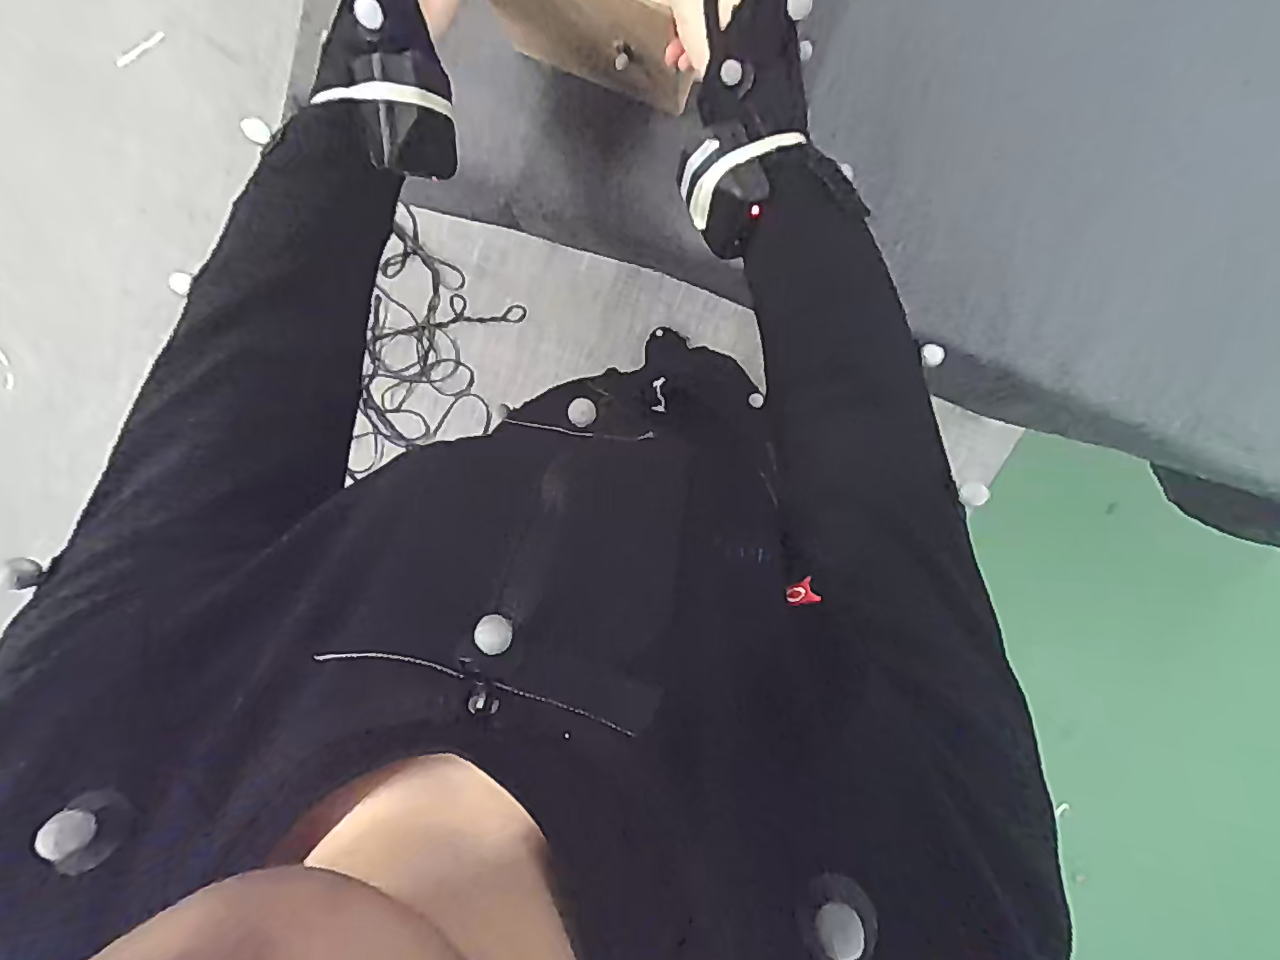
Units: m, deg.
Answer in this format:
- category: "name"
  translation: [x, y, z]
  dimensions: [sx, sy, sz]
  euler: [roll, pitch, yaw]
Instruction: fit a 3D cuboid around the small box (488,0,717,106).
- category: "small box"
  translation: [-0.019, -0.436, 0.427]
  dimensions: [0.179, 0.176, 0.168]
  euler: [21, 103, 1]
